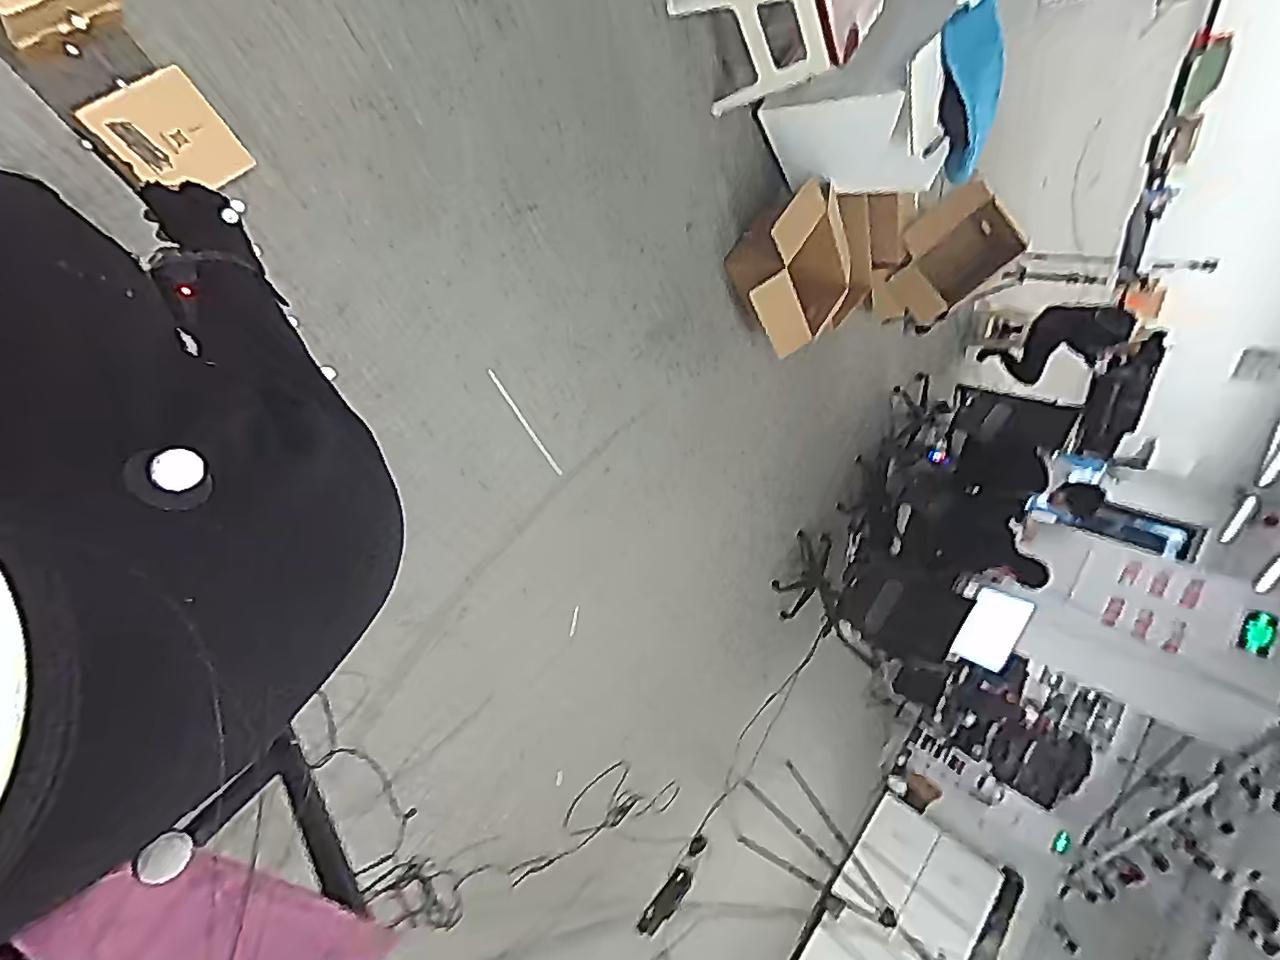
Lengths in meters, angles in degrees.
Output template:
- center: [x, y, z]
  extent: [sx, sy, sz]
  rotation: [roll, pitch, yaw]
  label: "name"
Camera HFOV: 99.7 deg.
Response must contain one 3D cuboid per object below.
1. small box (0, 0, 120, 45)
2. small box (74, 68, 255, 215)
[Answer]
- center: [-0.823, -0.708, 0.702]
  extent: [0.179, 0.176, 0.168]
  rotation: [-48, 136, -21]
  label: "small box"
- center: [-0.850, -0.597, 0.974]
  extent: [0.179, 0.176, 0.168]
  rotation: [-48, 136, -20]
  label: "small box"
